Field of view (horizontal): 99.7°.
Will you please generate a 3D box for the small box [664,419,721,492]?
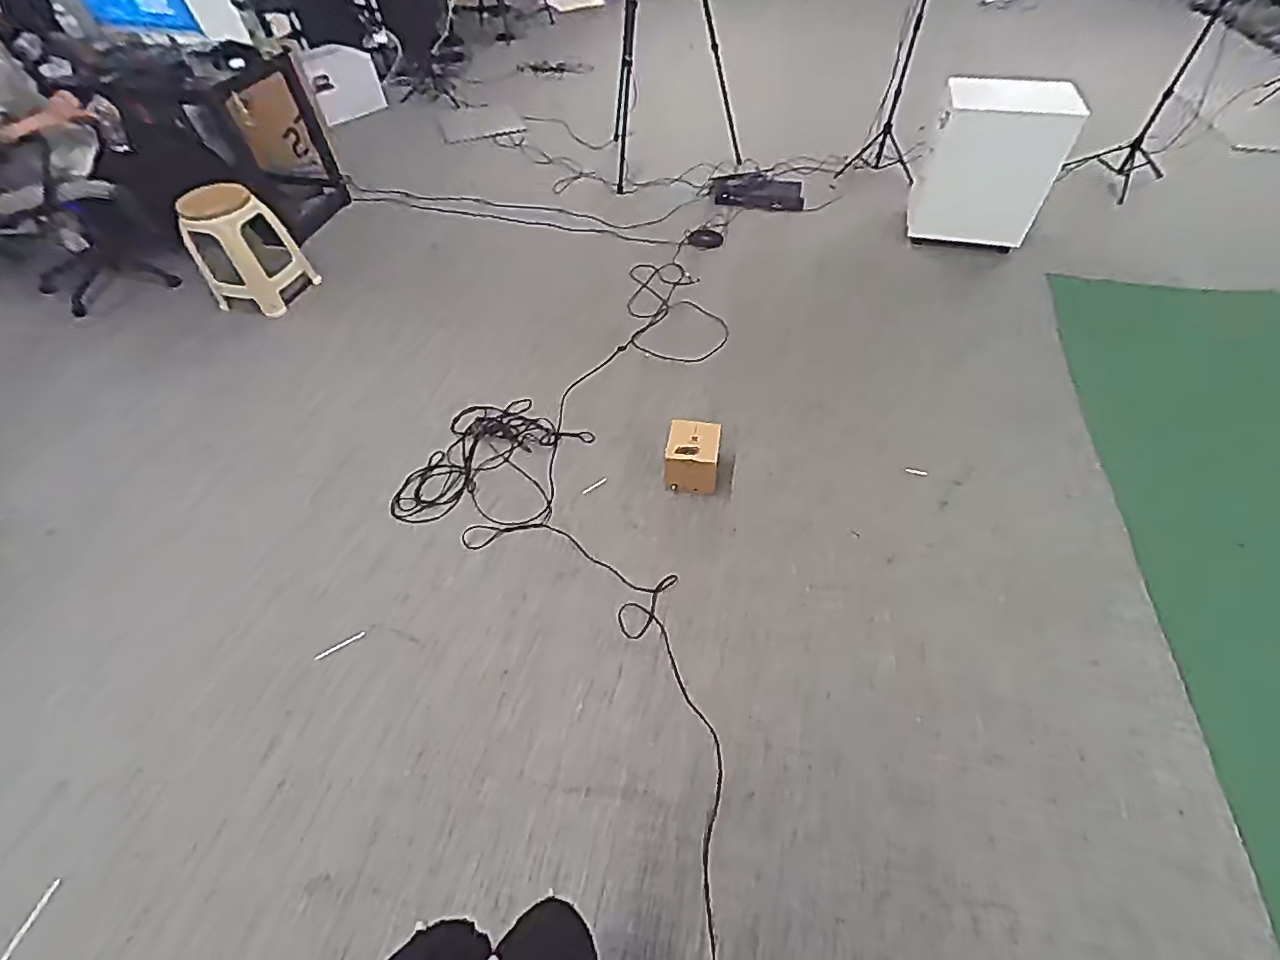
[{"bbox_3d":[0.176,-0.078,1.799,0.168,0.176,0.179,7,52,8],"label":"small box"}]
